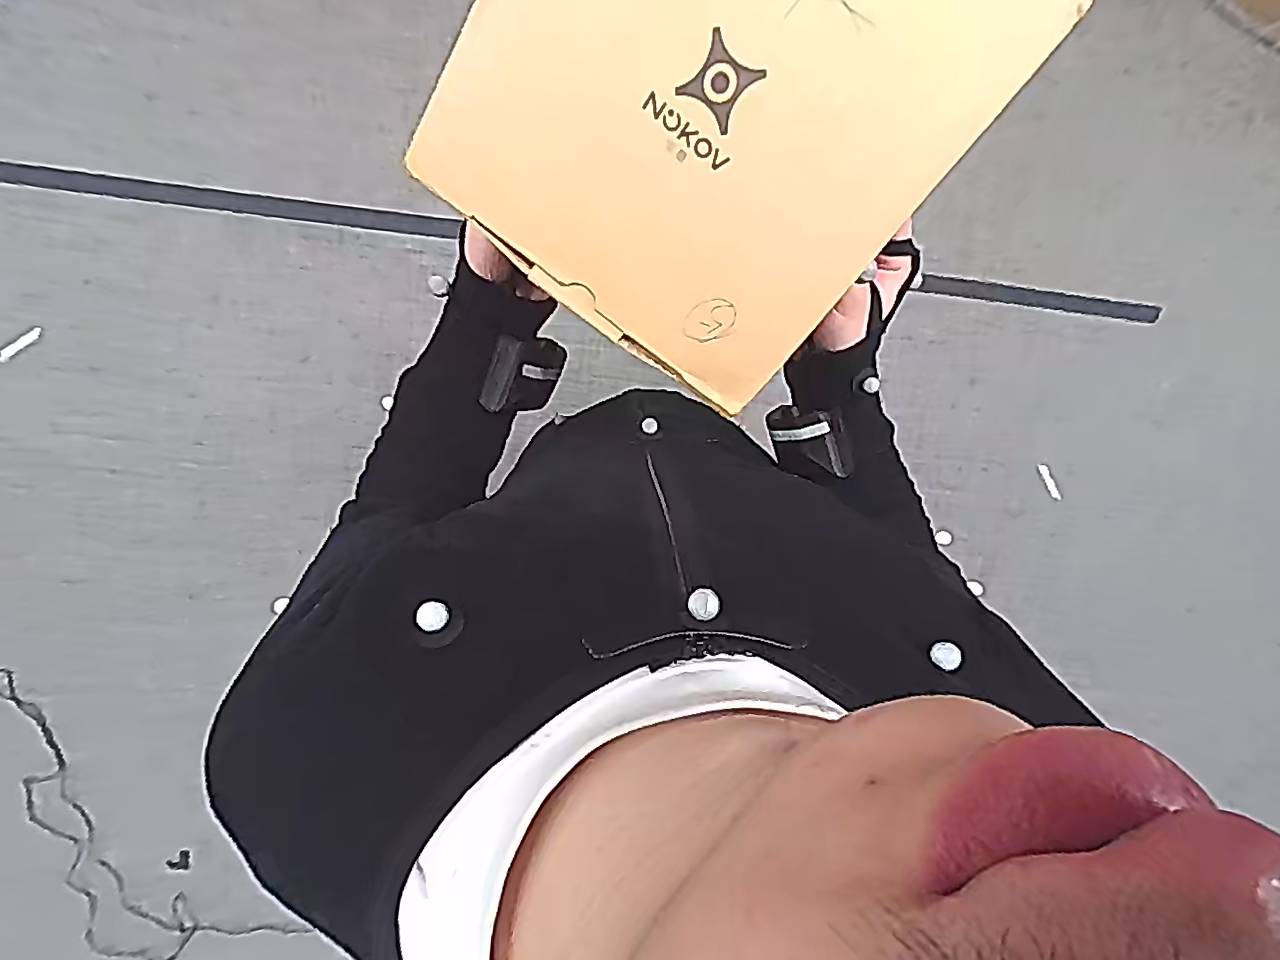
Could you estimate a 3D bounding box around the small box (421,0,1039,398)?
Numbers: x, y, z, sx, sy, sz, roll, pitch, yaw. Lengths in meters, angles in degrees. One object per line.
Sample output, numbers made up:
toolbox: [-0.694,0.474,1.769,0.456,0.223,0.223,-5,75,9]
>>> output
small box: [0.031,-0.173,0.276,0.168,0.176,0.179,35,110,-10]
